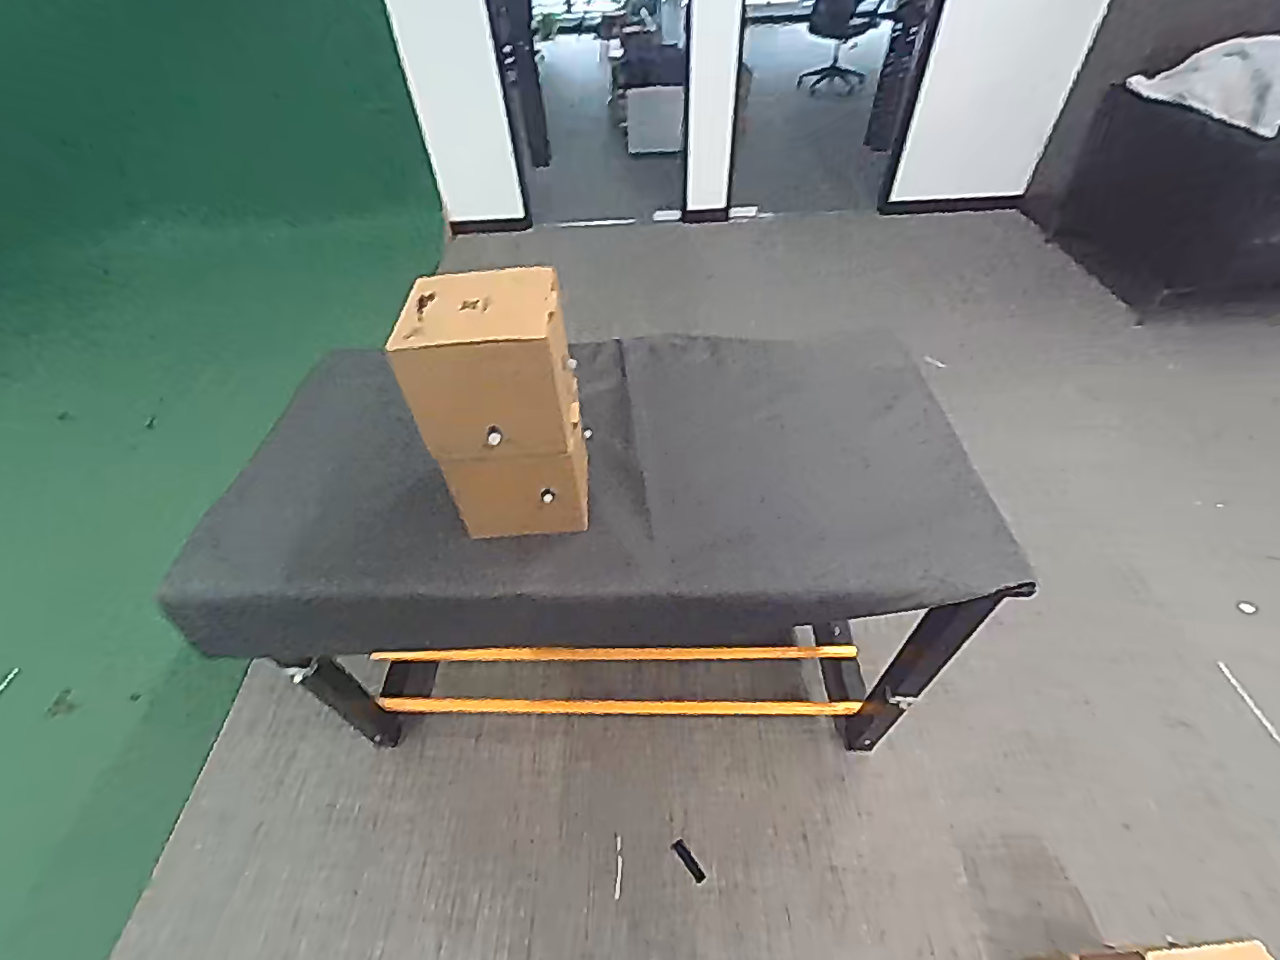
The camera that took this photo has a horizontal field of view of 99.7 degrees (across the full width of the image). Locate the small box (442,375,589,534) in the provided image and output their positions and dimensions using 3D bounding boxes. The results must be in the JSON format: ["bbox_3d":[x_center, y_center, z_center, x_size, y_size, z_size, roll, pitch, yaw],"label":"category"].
[{"bbox_3d":[-0.169,-0.036,0.806,0.179,0.176,0.168,-5,46,0],"label":"small box"}]

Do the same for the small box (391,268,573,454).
[{"bbox_3d":[-0.180,-0.148,0.686,0.179,0.176,0.168,-3,46,-1],"label":"small box"}]

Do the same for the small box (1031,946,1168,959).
[{"bbox_3d":[0.797,0.887,0.894,0.179,0.176,0.168,-5,47,-2],"label":"small box"}]

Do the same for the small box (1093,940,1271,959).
[{"bbox_3d":[0.804,0.777,0.772,0.179,0.176,0.168,-4,48,-2],"label":"small box"}]
